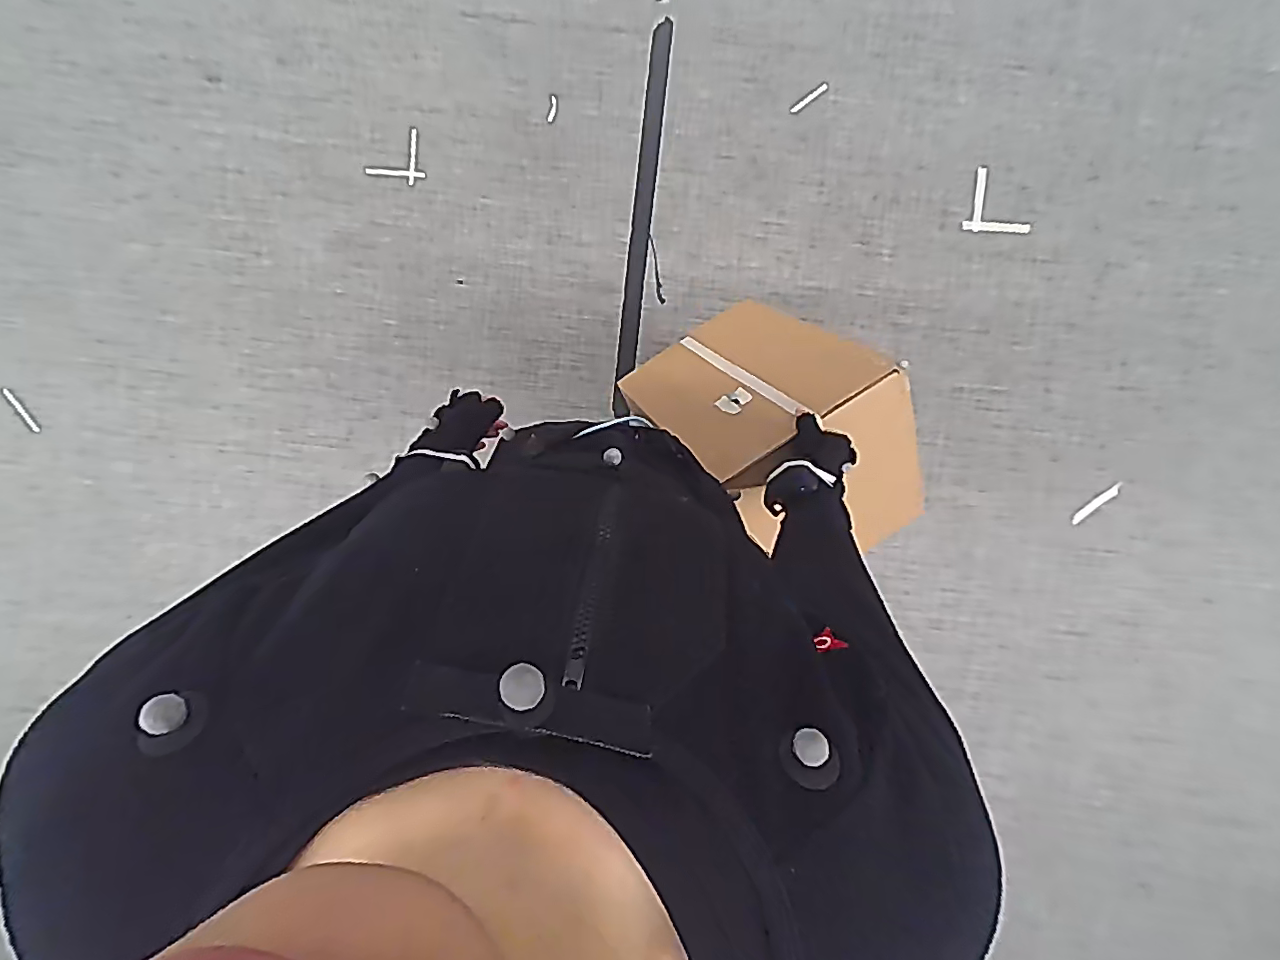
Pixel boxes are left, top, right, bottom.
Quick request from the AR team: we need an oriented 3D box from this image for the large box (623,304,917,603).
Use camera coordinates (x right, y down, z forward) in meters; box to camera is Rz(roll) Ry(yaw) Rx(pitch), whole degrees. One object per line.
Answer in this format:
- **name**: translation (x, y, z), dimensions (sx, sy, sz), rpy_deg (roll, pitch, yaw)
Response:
- **large box**: translation (0.223, -0.066, 0.980), dimensions (0.320, 0.408, 0.320), rpy_deg (-32, 128, -3)
